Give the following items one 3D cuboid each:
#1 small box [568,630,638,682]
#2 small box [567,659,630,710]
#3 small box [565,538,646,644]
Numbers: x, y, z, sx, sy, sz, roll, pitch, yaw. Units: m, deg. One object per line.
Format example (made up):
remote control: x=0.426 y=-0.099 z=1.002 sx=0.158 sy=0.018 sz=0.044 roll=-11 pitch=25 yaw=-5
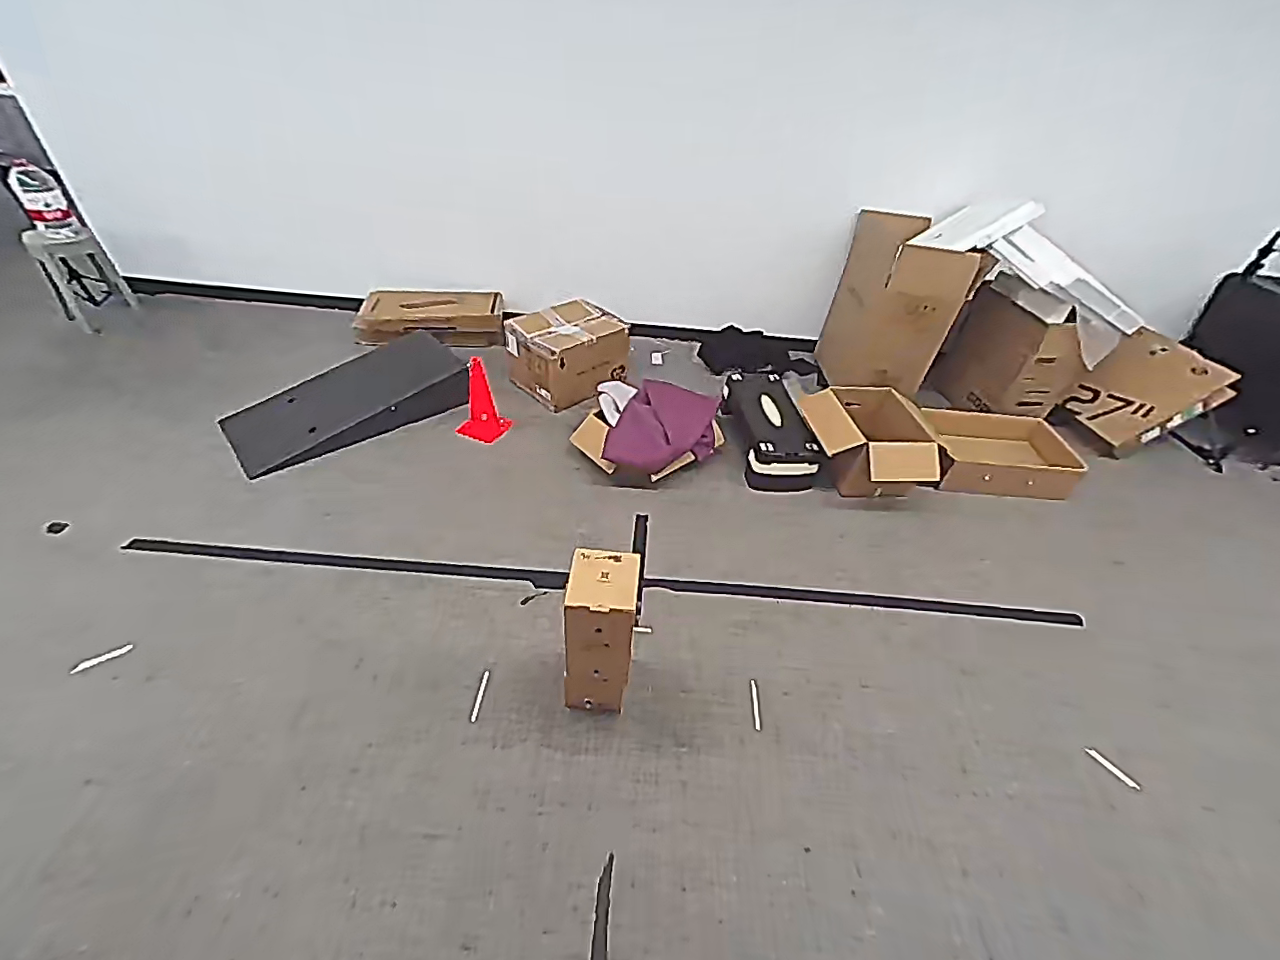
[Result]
small box: x=-0.088 y=0.382 z=1.364 sx=0.168 sy=0.176 sz=0.179 roll=4 pitch=41 yaw=0
small box: x=-0.108 y=0.500 z=1.478 sx=0.168 sy=0.176 sz=0.179 roll=4 pitch=42 yaw=-1
small box: x=-0.076 y=0.260 z=1.256 sx=0.168 sy=0.176 sz=0.179 roll=5 pitch=41 yaw=0
